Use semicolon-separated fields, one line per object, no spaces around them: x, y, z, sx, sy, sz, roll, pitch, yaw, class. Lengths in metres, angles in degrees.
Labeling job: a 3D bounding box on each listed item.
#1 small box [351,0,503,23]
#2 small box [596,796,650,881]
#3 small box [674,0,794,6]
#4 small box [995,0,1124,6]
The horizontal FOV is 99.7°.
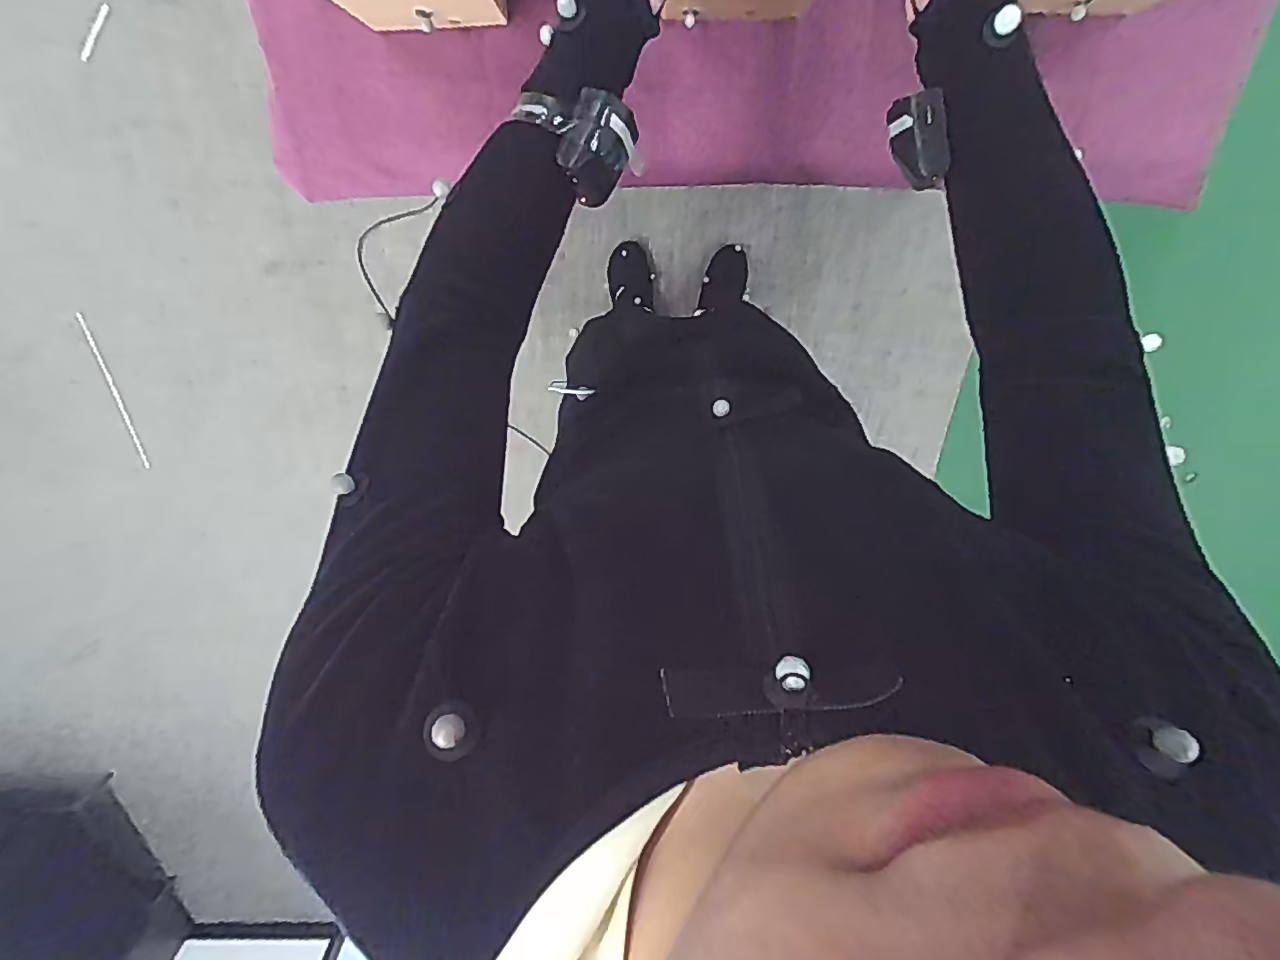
-0.244;-0.589;0.534;0.168;0.176;0.179;-2;117;1;small box
-0.053;1.181;1.784;0.168;0.176;0.179;4;116;0;small box
0.103;-0.598;0.531;0.168;0.176;0.179;-1;117;1;small box
0.494;-0.597;0.529;0.179;0.176;0.168;1;117;0;small box
